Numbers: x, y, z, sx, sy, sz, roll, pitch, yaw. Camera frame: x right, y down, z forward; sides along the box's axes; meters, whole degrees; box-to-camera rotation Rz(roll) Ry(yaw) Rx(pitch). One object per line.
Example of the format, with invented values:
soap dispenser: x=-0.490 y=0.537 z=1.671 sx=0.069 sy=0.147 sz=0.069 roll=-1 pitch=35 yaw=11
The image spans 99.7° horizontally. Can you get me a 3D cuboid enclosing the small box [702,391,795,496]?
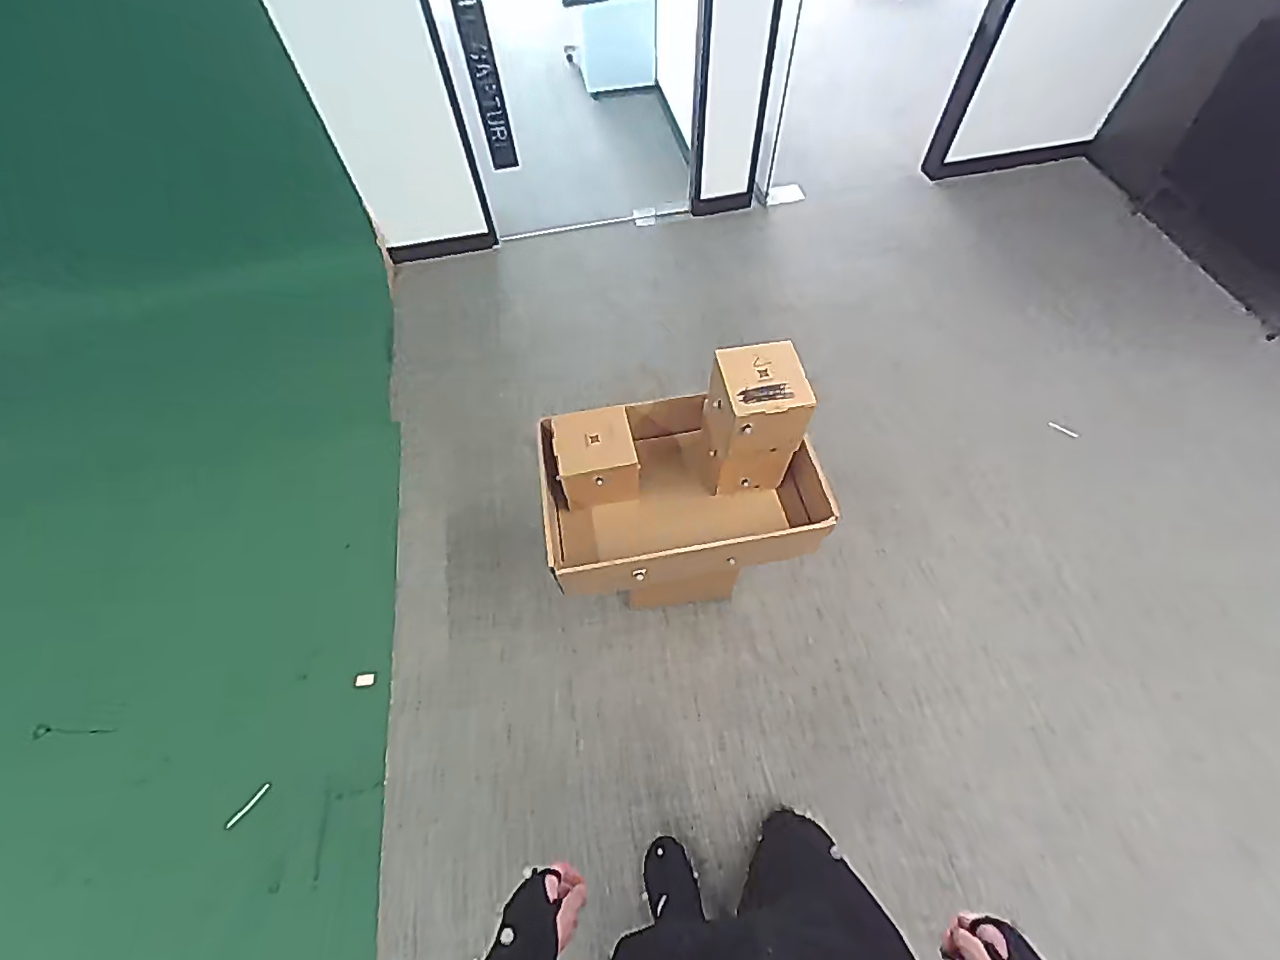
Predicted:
small box: x=0.249 y=-0.085 z=1.292 sx=0.168 sy=0.176 sz=0.179 roll=-8 pitch=60 yaw=-4
